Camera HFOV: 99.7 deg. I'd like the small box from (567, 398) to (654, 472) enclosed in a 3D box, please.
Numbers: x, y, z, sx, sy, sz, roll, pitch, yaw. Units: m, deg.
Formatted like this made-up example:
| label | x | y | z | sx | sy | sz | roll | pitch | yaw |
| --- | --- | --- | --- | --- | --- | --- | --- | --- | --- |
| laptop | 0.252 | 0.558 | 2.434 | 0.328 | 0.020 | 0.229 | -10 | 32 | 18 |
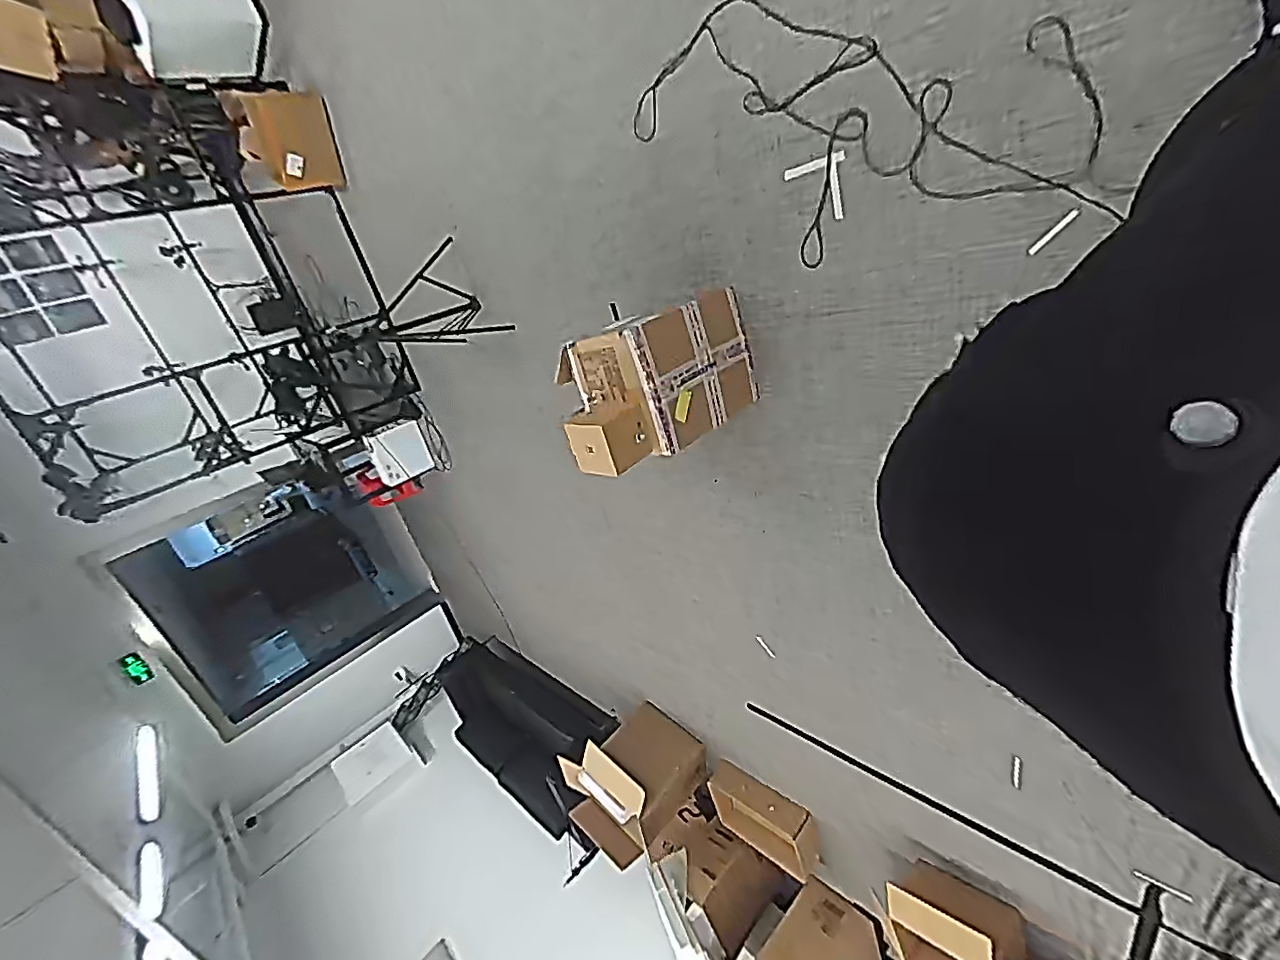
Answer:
| label | x | y | z | sx | sy | sz | roll | pitch | yaw |
| --- | --- | --- | --- | --- | --- | --- | --- | --- | --- |
| small box | -0.086 | -0.141 | 1.639 | 0.179 | 0.176 | 0.168 | 7 | 124 | 43 |
